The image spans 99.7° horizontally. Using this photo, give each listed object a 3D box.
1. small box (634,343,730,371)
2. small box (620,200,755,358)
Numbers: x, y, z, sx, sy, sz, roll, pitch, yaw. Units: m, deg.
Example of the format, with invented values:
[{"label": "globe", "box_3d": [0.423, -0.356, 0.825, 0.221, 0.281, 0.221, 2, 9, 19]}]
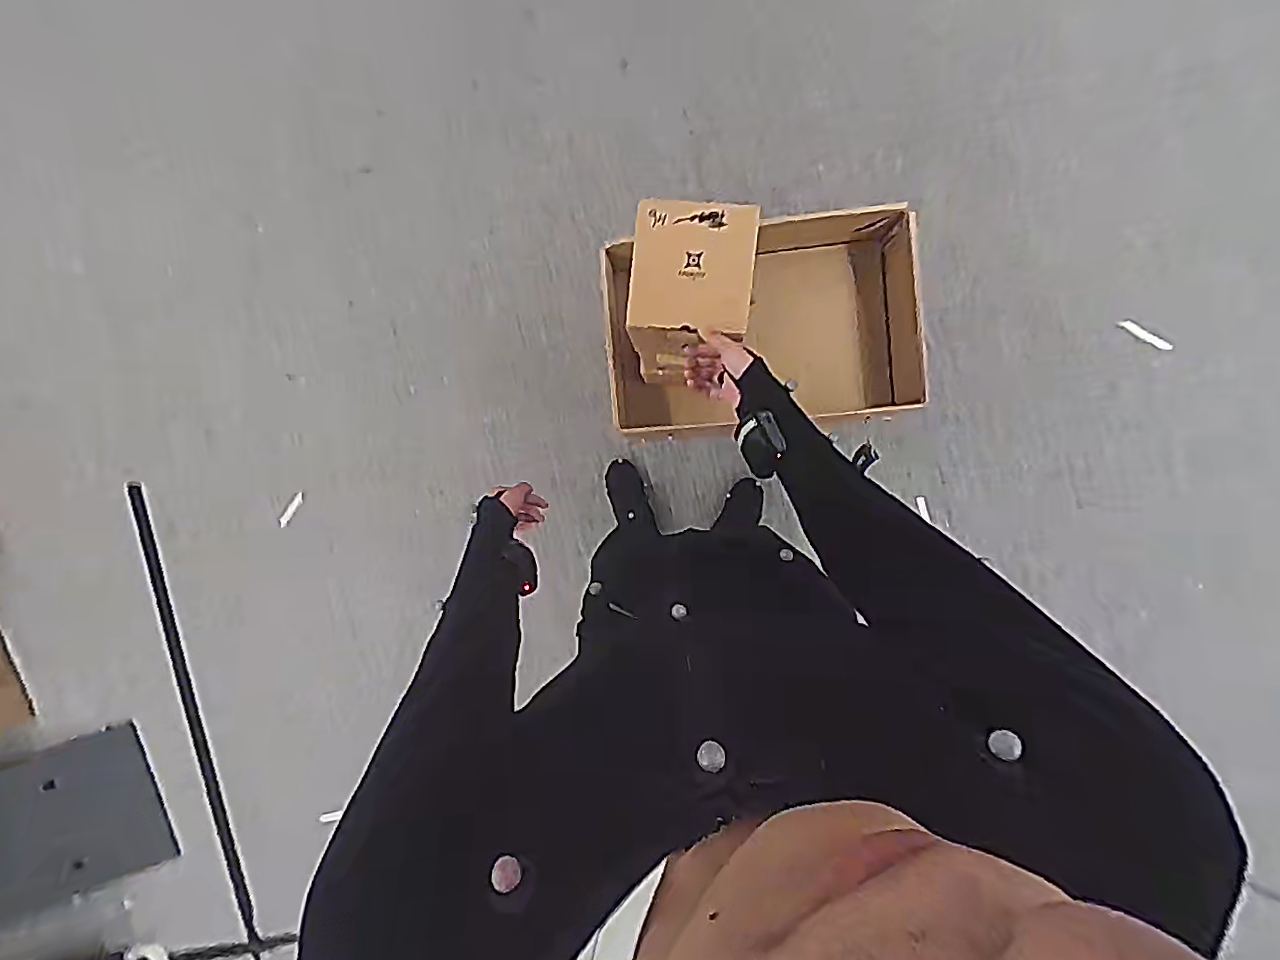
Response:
[{"label": "small box", "box_3d": [0.083, -0.296, 0.970, 0.168, 0.176, 0.179, 3, 91, 5]}, {"label": "small box", "box_3d": [0.071, -0.287, 0.806, 0.168, 0.176, 0.179, 7, 92, 5]}]
